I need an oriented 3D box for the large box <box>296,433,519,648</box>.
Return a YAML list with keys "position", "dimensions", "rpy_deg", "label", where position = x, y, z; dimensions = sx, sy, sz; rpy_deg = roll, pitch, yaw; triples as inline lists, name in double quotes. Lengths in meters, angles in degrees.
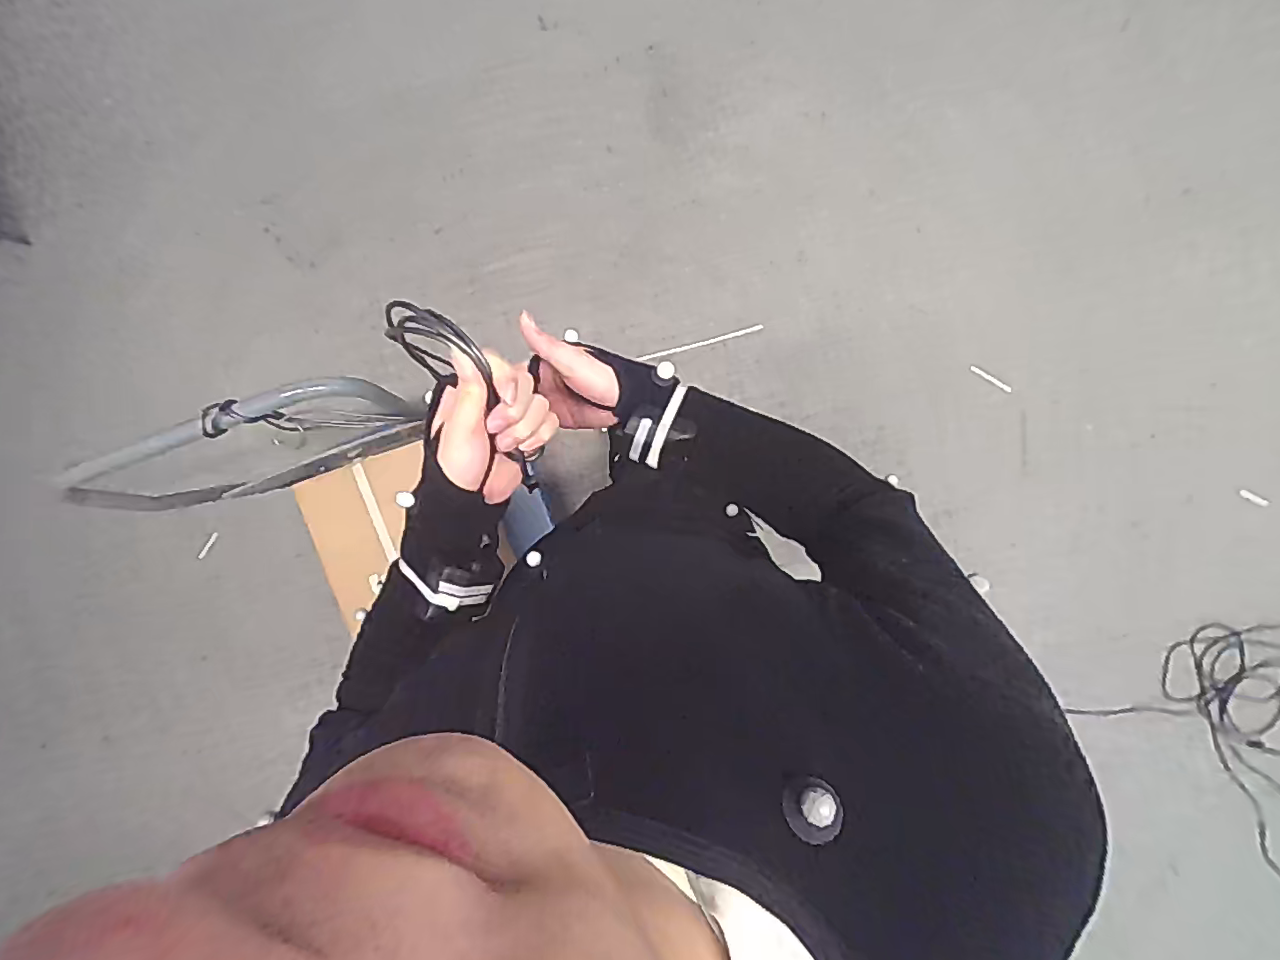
- position: [-0.530, 0.123, 1.315]
  dimensions: [0.320, 0.320, 0.408]
  rpy_deg: [-19, 96, 2]
  label: "large box"
